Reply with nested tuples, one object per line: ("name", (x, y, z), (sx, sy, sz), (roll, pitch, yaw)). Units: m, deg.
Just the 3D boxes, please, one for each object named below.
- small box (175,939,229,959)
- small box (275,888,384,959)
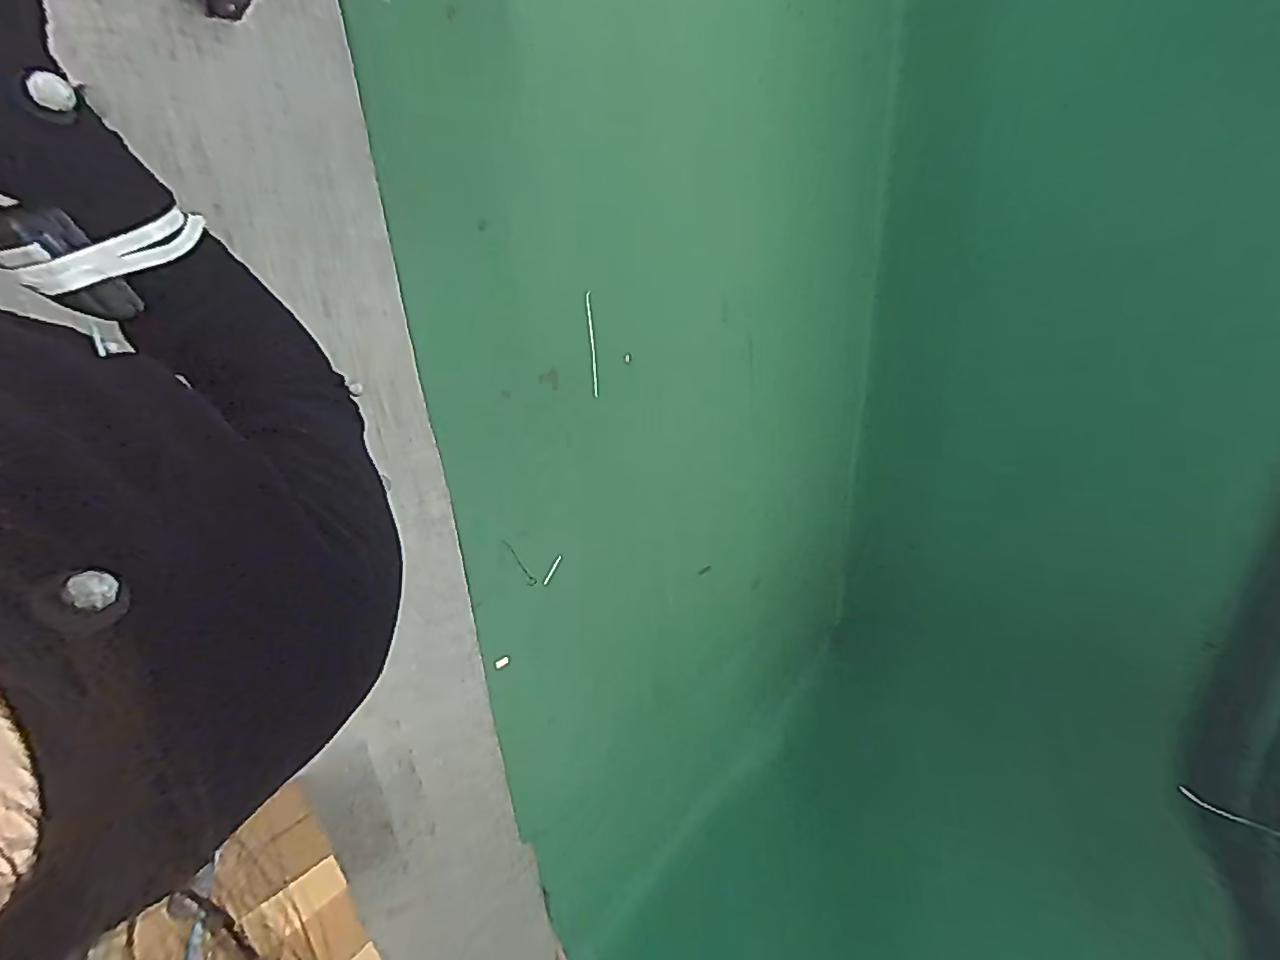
("small box", (-0.904, 1.087, 1.079), (0.168, 0.176, 0.179), (-20, 119, -42))
("small box", (-0.739, 1.143, 1.289), (0.179, 0.176, 0.168), (-28, 125, -41))
